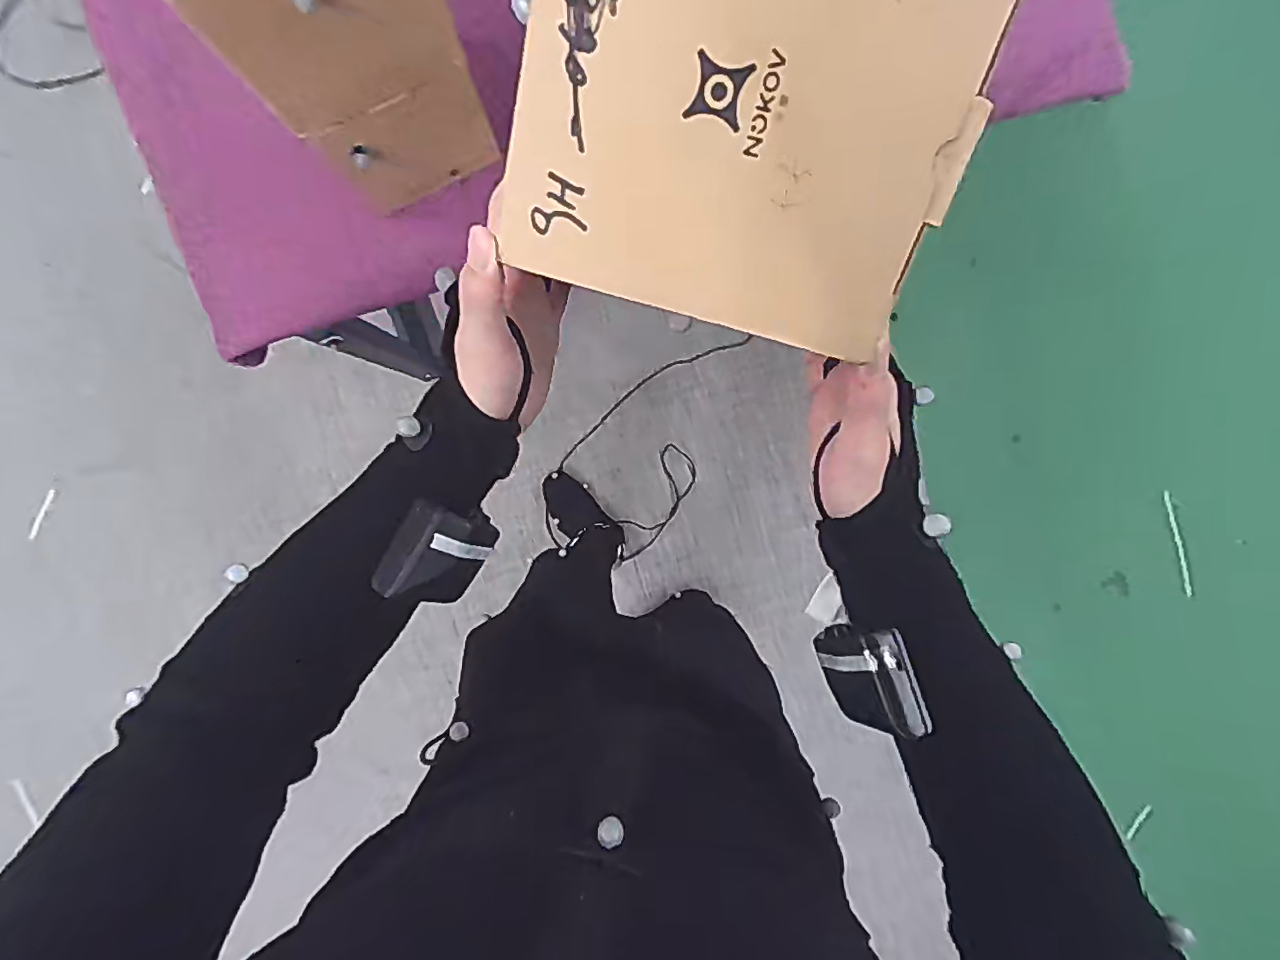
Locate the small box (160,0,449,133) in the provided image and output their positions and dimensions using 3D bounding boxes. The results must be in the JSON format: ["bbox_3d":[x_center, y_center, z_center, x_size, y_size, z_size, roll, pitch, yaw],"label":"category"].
[{"bbox_3d":[-0.270,-0.421,0.420,0.179,0.176,0.168,-25,94,-1],"label":"small box"}]
